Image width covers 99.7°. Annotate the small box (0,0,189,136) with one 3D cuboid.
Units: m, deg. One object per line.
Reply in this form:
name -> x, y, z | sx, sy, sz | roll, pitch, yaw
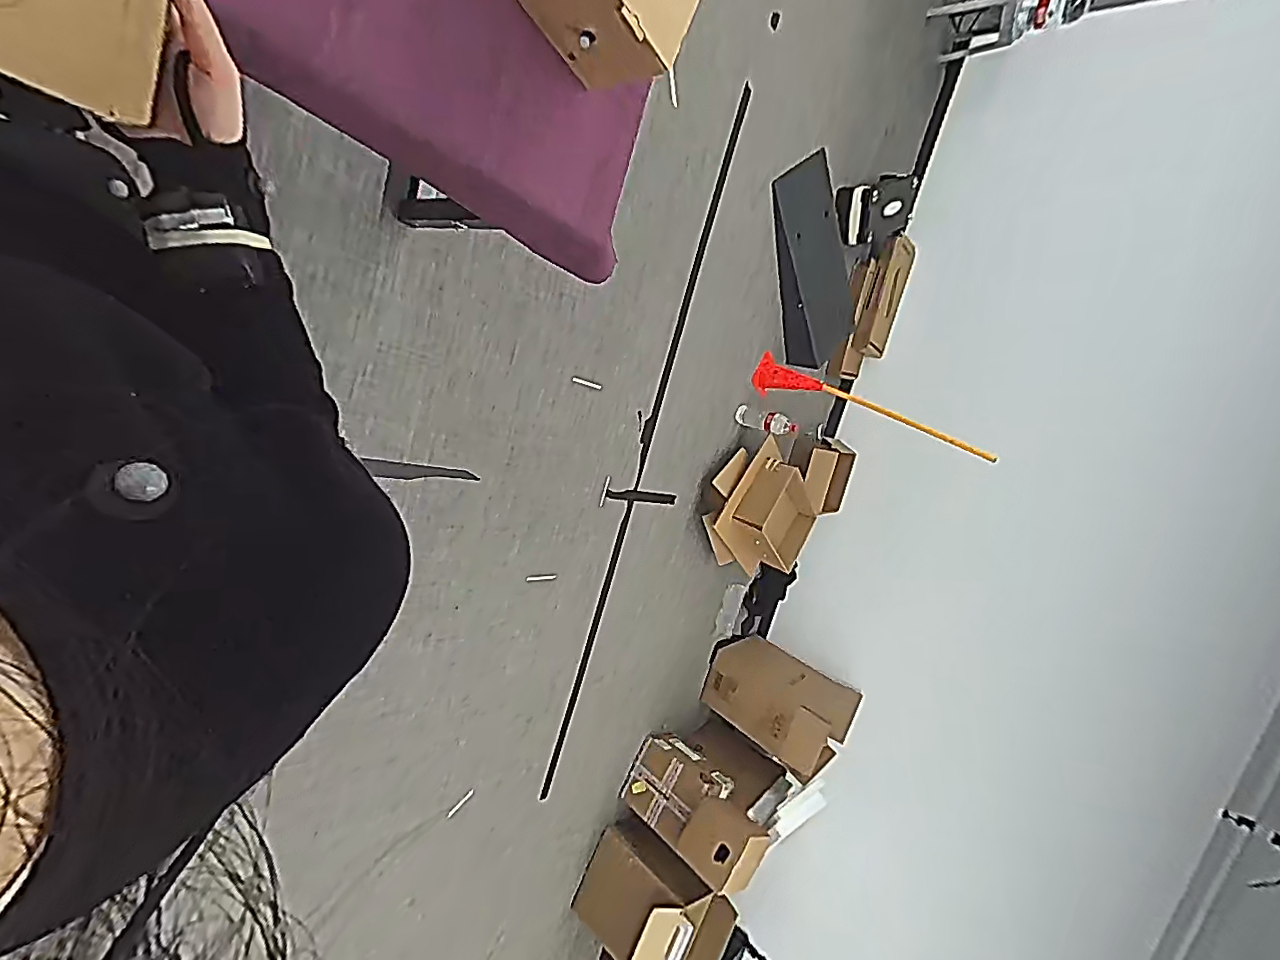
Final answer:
small box -> -0.309, -0.288, 0.239 | 0.168, 0.176, 0.179 | 13, 109, -42
